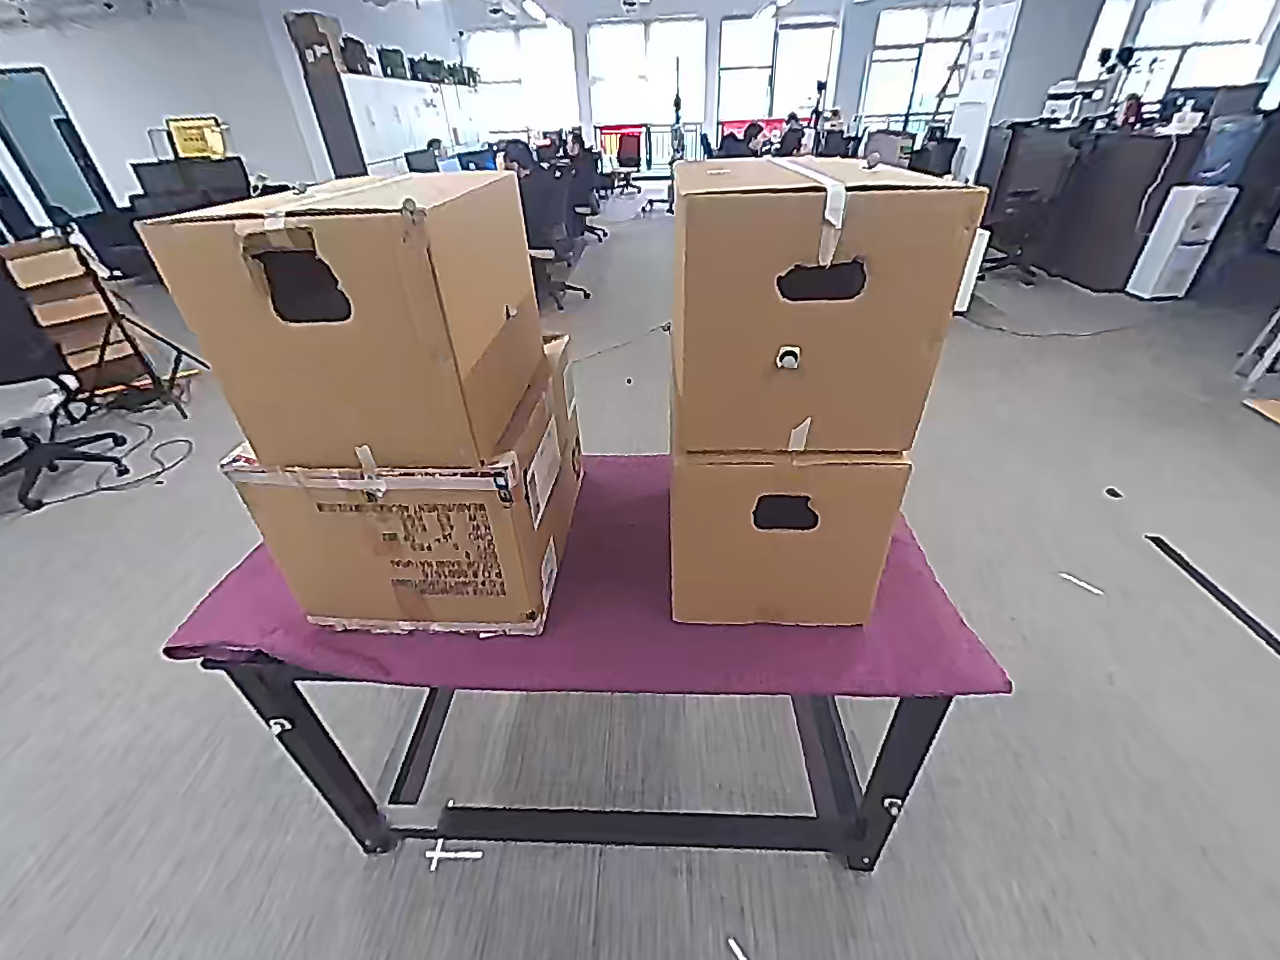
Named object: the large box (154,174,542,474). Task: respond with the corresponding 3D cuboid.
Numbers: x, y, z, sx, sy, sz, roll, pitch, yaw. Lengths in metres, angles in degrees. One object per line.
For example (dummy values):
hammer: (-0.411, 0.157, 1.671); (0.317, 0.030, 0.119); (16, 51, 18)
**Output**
large box: (-0.344, -0.249, 0.796); (0.320, 0.320, 0.408); (-2, 35, 4)
